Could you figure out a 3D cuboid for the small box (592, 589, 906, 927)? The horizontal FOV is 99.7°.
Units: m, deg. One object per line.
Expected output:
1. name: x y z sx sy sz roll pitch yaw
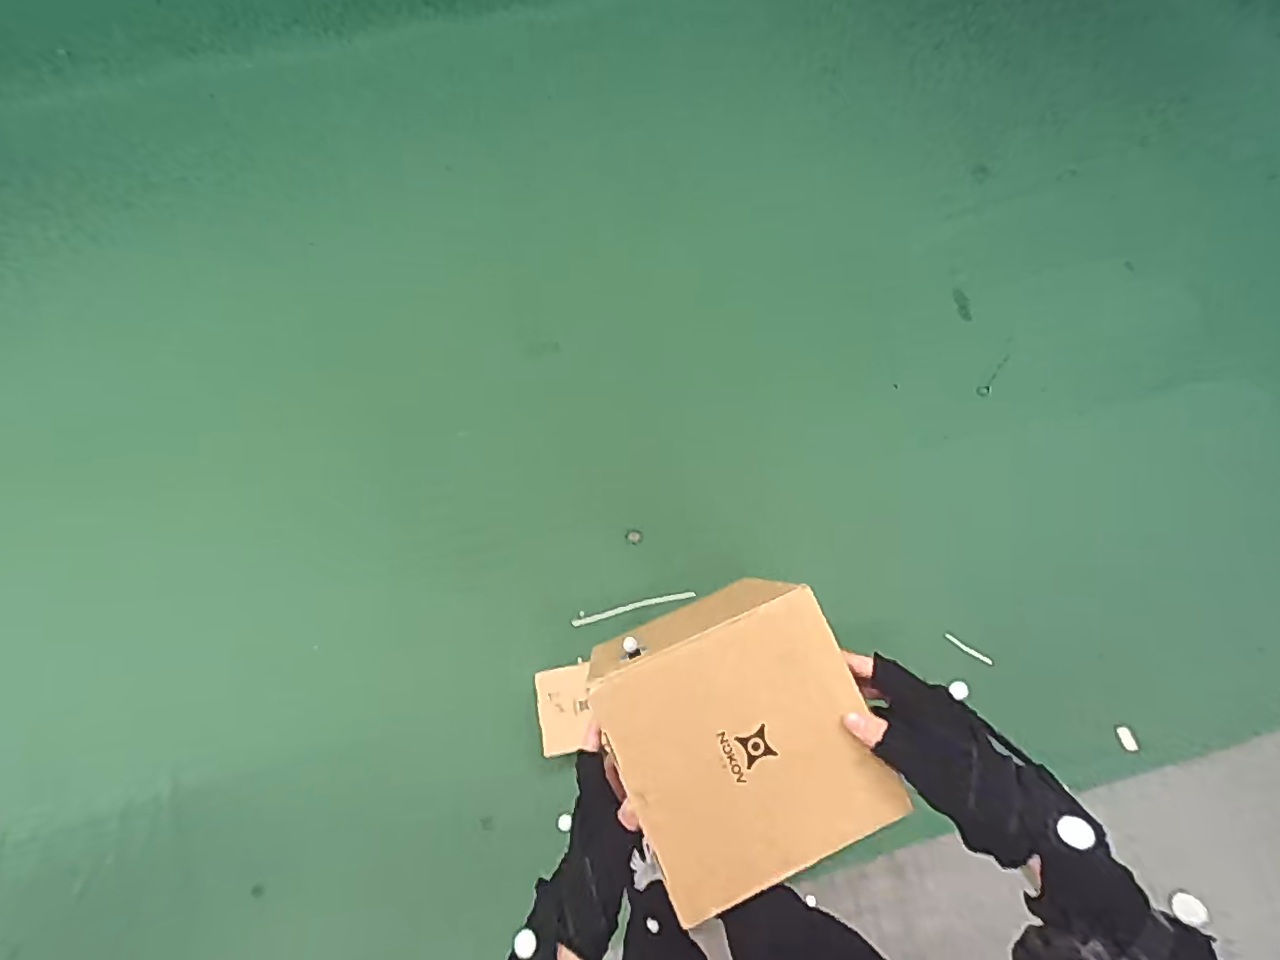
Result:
1. small box: 0.069 0.197 0.447 0.179 0.176 0.168 -22 82 -7
